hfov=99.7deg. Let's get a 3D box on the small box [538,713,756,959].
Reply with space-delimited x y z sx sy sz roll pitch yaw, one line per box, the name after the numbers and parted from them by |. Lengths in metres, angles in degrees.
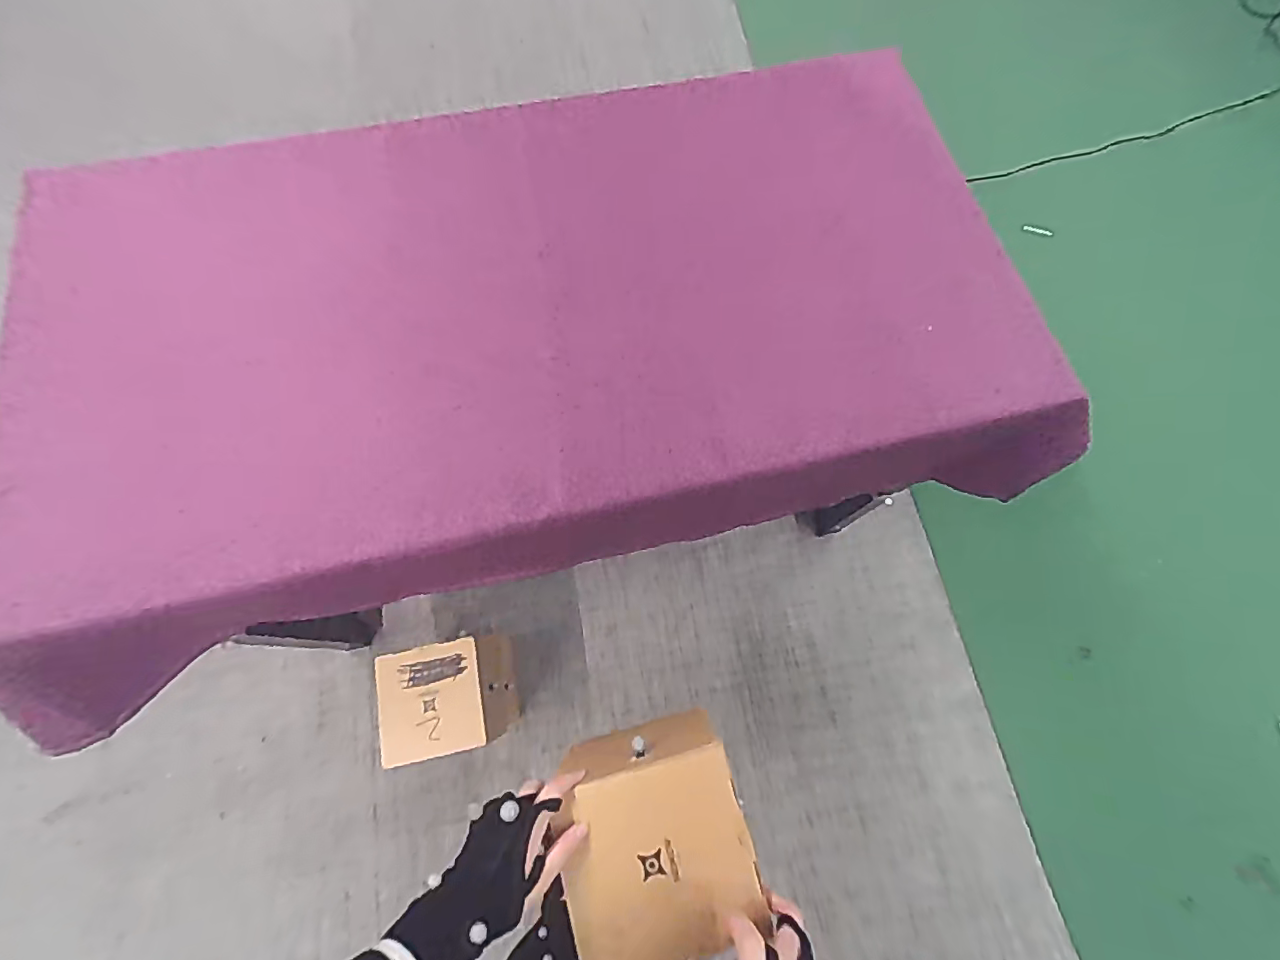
0.005 0.368 0.581 0.179 0.176 0.168 -14 78 -3 | small box
